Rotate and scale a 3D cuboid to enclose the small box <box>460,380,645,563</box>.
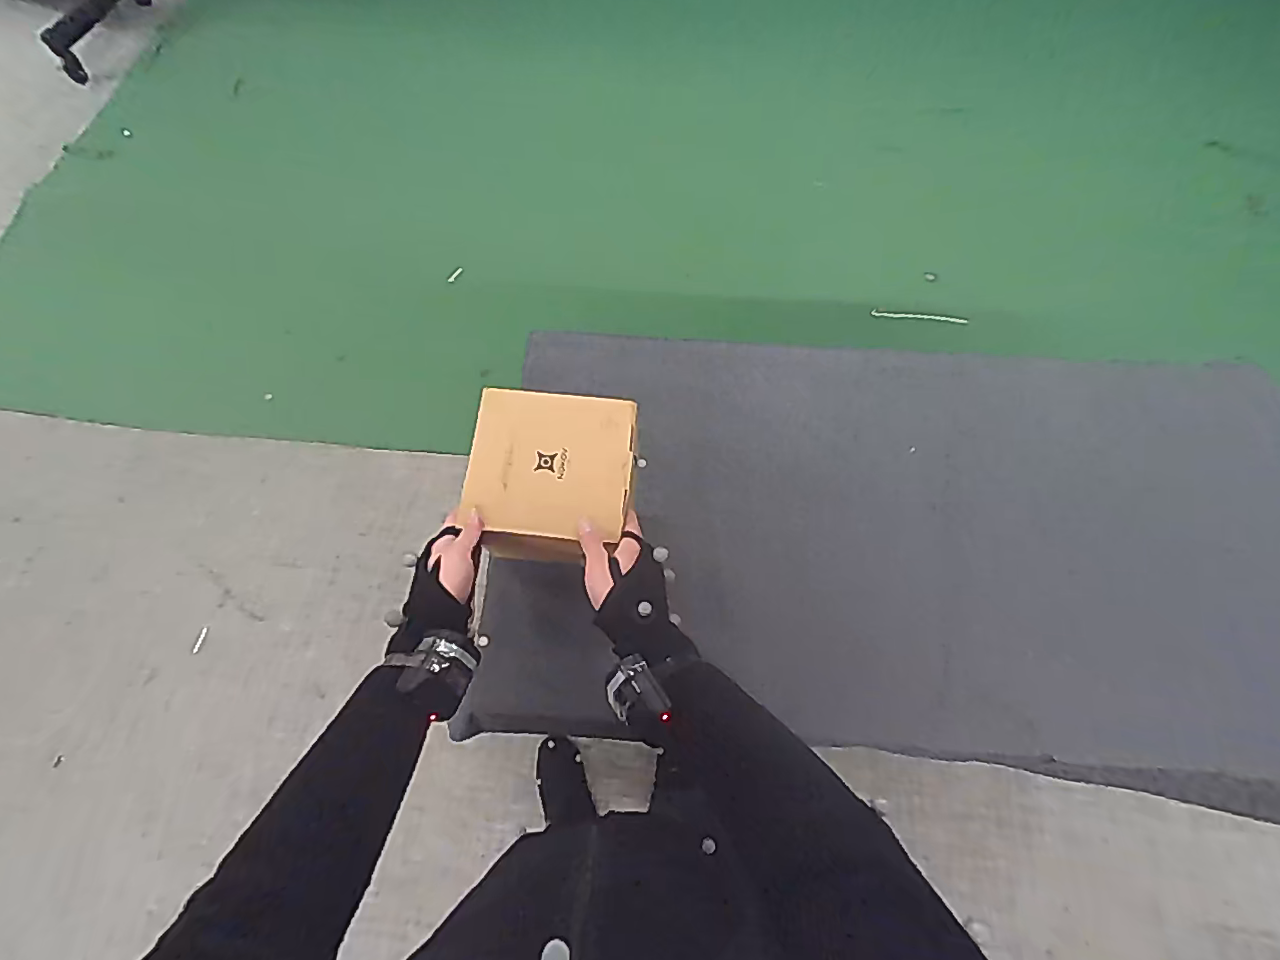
[{"bbox_3d":[-0.091,0.000,0.648,0.179,0.176,0.168,5,70,1],"label":"small box"}]
